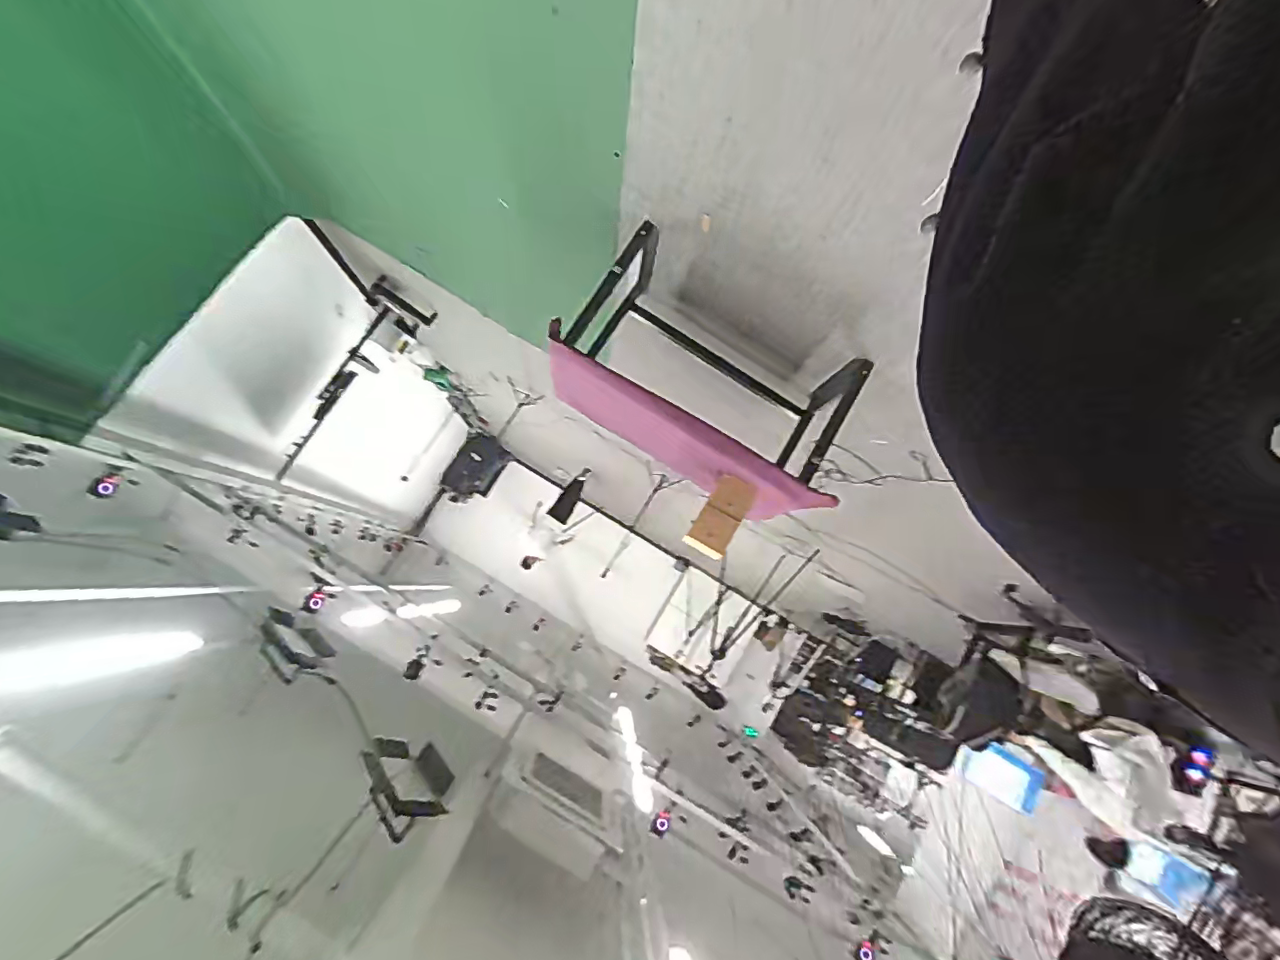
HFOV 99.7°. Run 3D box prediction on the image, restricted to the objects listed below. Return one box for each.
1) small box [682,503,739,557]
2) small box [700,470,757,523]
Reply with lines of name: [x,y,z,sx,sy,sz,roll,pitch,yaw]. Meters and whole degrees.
small box: [0.303,0.211,2.342,0.179,0.176,0.168,30,167,6]
small box: [0.390,0.080,2.380,0.179,0.176,0.168,31,167,4]
